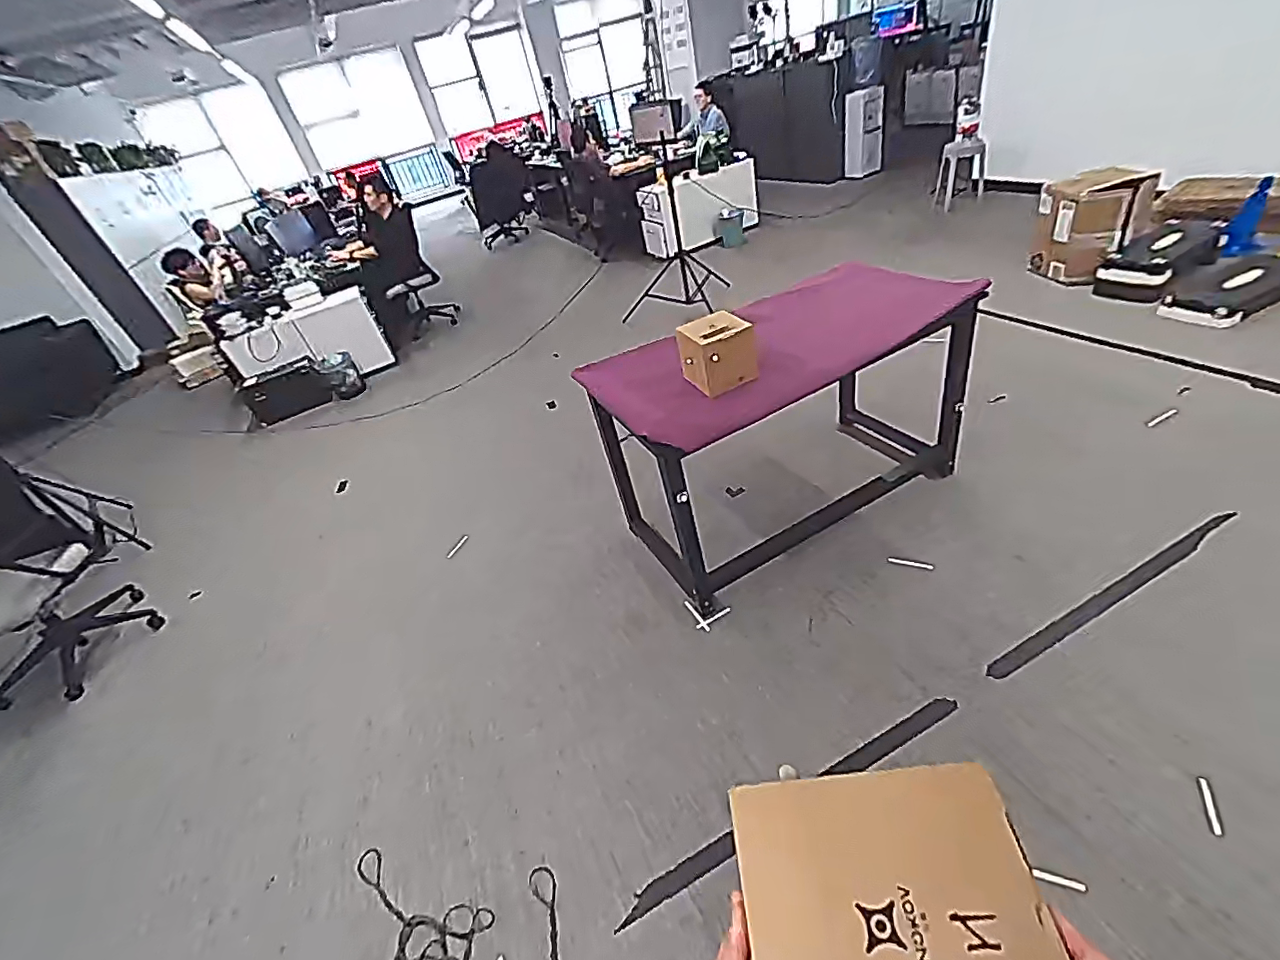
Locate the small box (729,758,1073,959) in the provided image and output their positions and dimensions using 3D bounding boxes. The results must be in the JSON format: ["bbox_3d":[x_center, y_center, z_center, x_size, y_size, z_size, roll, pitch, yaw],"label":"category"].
[{"bbox_3d":[0.167,0.309,0.377,0.179,0.176,0.168,-10,51,7],"label":"small box"}]
